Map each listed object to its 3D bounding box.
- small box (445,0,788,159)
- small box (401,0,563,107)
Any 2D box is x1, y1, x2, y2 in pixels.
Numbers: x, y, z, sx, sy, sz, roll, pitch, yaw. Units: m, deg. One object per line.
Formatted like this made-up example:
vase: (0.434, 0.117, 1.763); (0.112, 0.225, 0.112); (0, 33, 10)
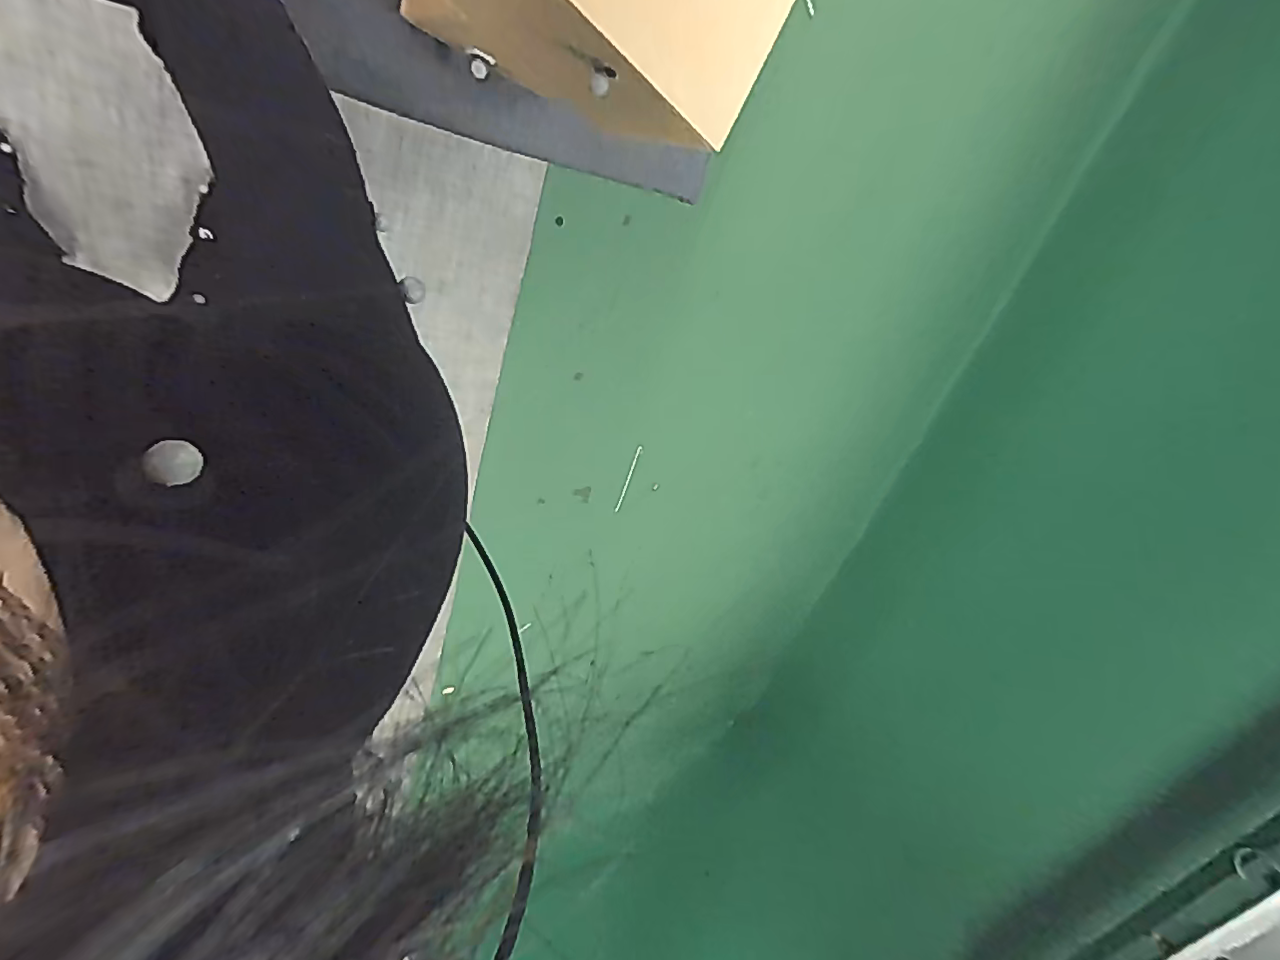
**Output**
small box: (-0.013, -0.373, 0.392); (0.179, 0.176, 0.168); (13, 112, -45)
small box: (-0.101, -0.469, 0.490); (0.168, 0.176, 0.179); (-1, 122, -41)
